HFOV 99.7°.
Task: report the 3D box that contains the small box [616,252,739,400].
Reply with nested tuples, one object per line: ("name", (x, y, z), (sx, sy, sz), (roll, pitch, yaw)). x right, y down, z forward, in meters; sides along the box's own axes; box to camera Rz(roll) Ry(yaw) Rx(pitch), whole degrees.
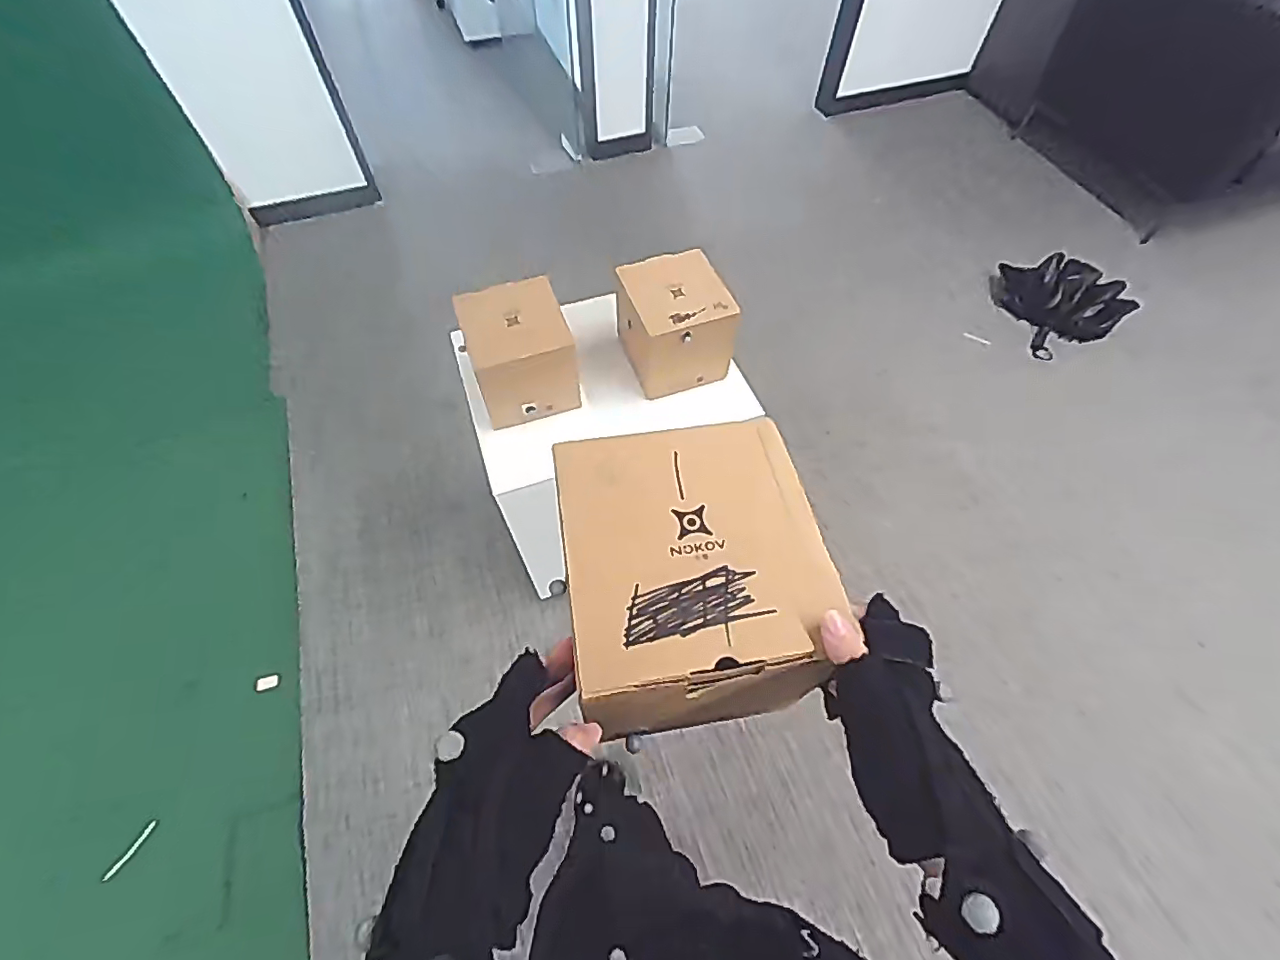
("small box", (0.061, -0.277, 0.989), (0.168, 0.176, 0.179), (-19, 61, -10))

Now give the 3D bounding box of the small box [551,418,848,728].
("small box", (0.029, 0.080, 0.418), (0.168, 0.176, 0.179), (-8, 56, -6))

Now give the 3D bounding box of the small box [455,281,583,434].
("small box", (-0.207, -0.211, 0.953), (0.168, 0.176, 0.179), (-20, 63, -11))
